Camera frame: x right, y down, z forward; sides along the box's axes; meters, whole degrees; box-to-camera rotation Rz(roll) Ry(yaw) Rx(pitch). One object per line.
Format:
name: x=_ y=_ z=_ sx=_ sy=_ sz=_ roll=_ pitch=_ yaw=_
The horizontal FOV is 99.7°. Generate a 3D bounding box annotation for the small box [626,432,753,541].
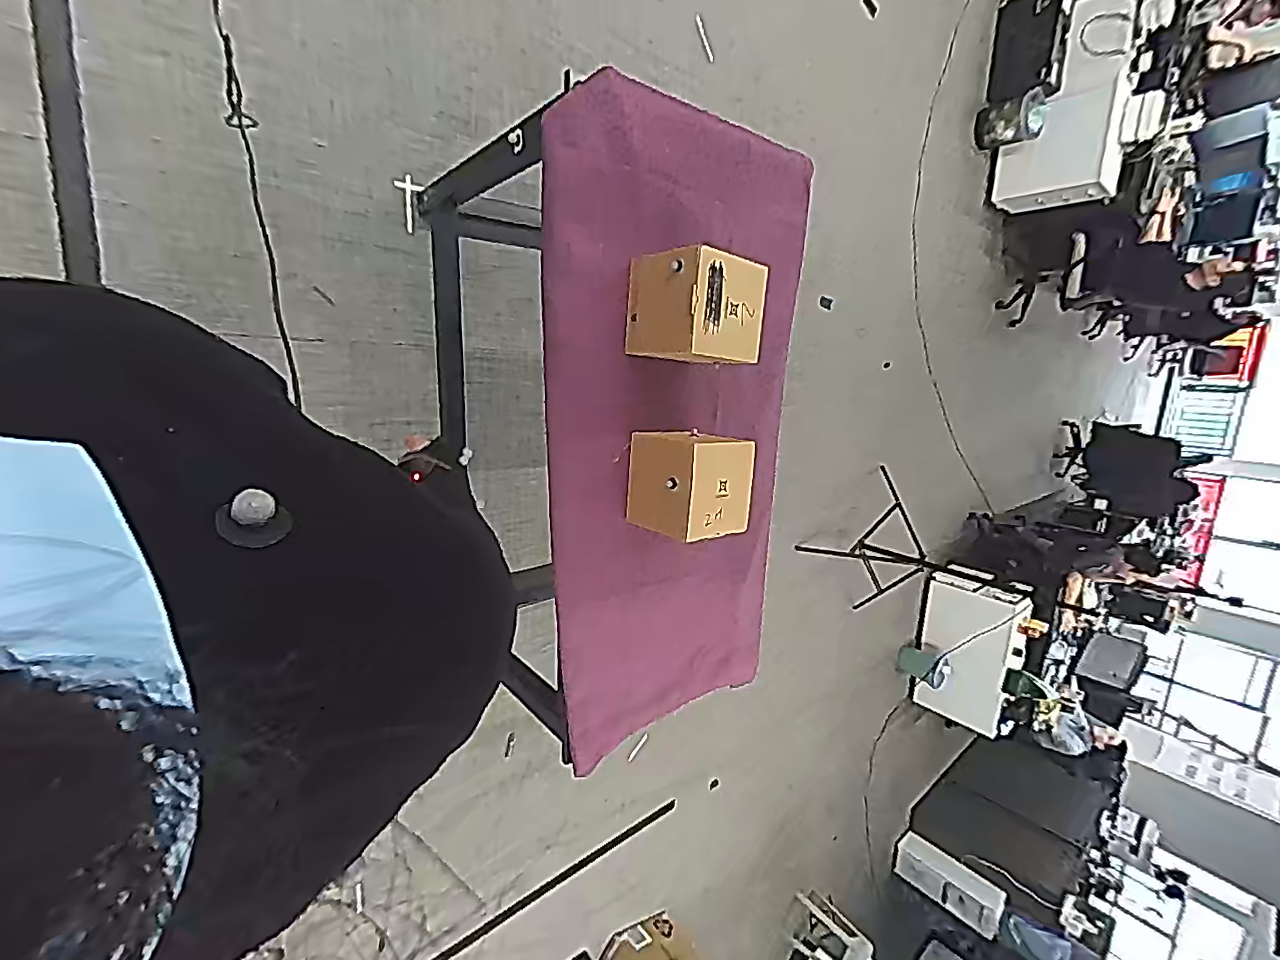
small box: x=0.090 y=0.004 z=1.022 sx=0.168 sy=0.176 sz=0.179 roll=-4 pitch=103 yaw=-40
